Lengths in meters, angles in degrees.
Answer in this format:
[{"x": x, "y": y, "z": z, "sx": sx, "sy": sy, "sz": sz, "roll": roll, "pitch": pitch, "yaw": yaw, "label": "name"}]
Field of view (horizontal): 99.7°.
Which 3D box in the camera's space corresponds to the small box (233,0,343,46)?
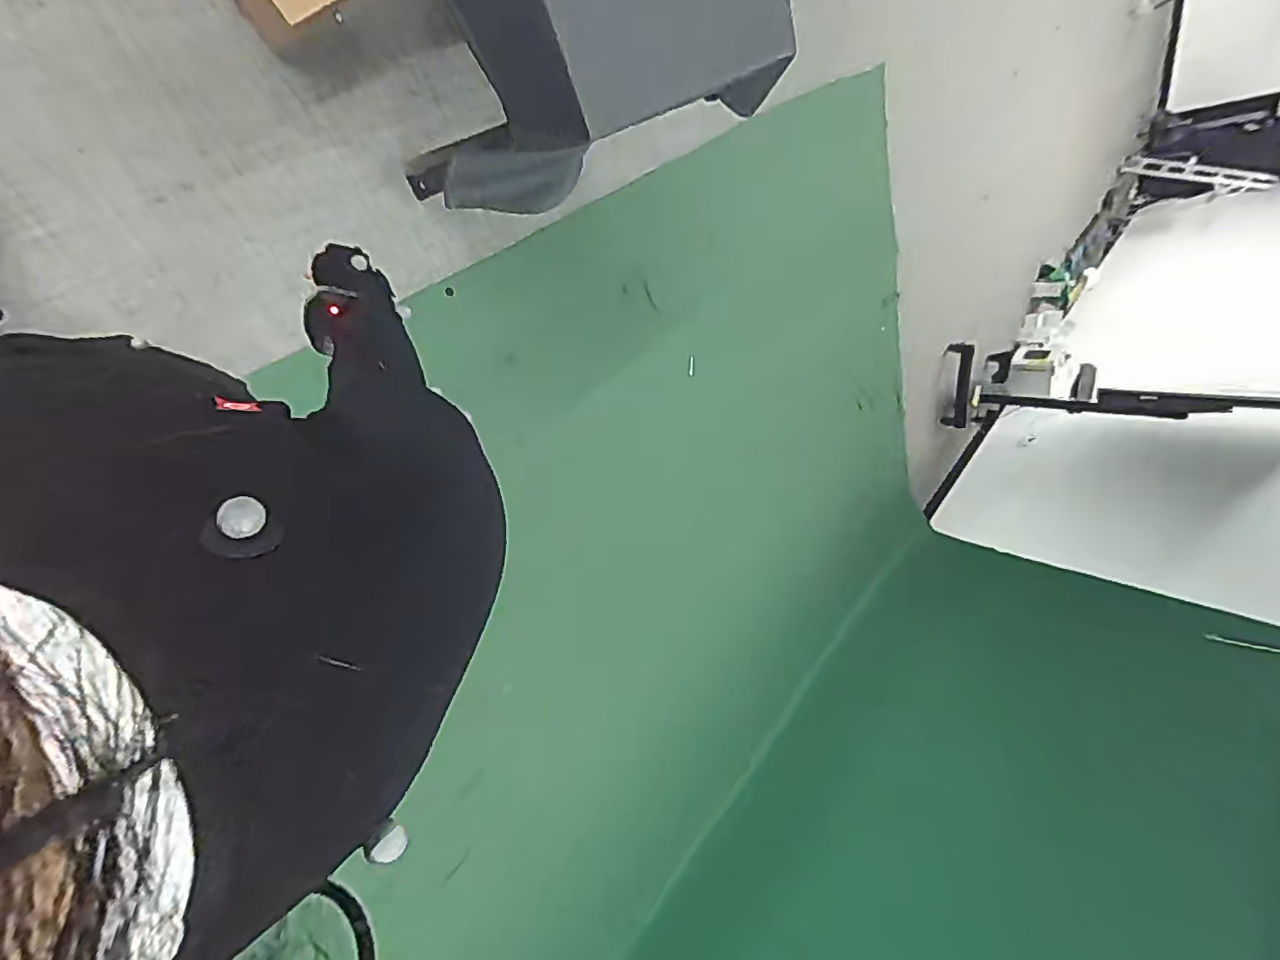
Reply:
[{"x": -0.690, "y": -0.984, "z": 1.033, "sx": 0.179, "sy": 0.176, "sz": 0.168, "roll": -52, "pitch": 132, "yaw": -20, "label": "small box"}]
